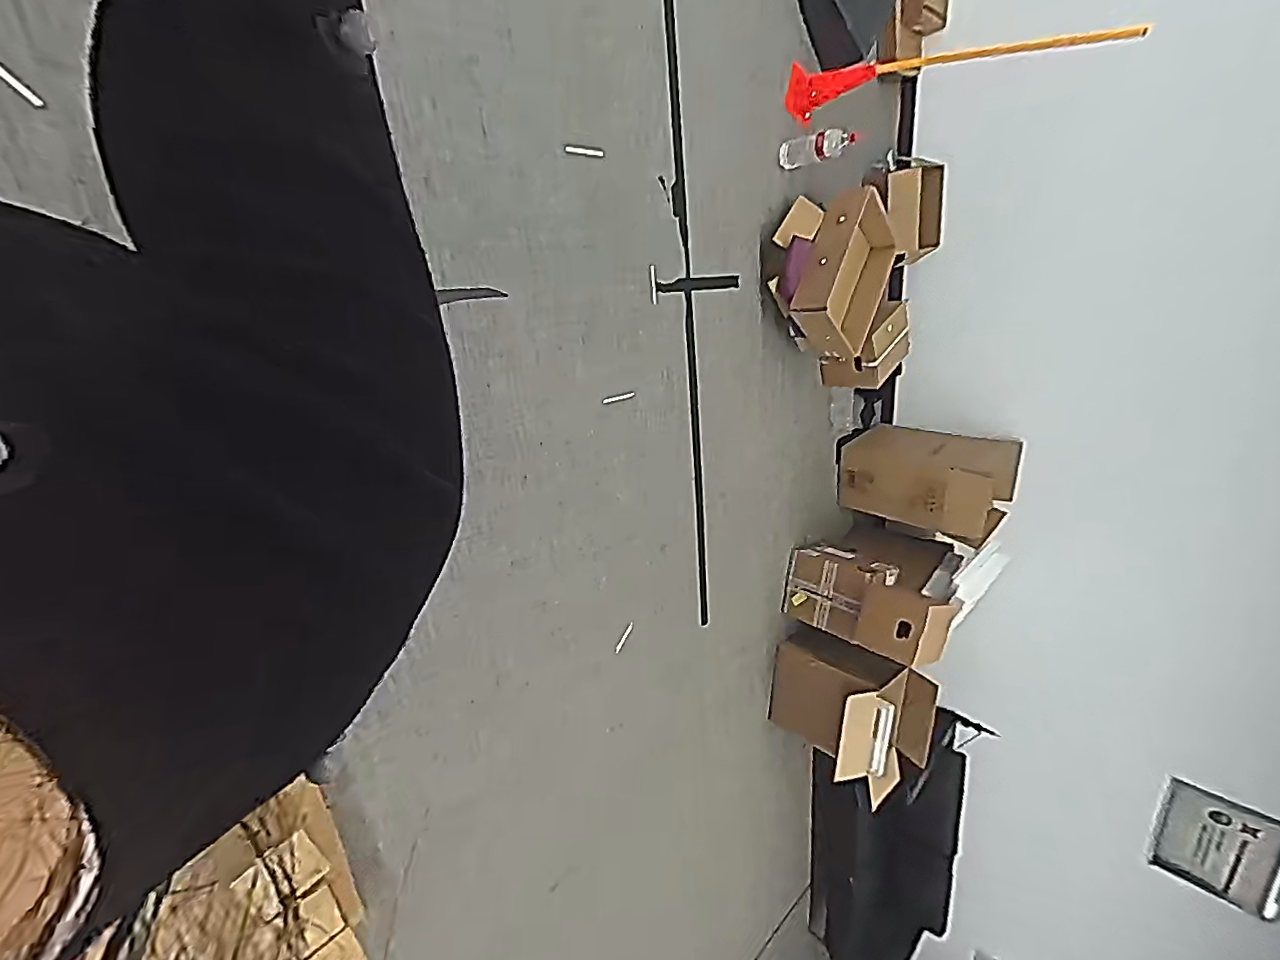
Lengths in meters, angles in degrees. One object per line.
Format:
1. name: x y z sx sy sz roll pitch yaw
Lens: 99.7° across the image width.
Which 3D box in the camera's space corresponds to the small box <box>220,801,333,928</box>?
1. small box: -0.919 0.953 1.364 0.168 0.176 0.179 -32 121 -36
